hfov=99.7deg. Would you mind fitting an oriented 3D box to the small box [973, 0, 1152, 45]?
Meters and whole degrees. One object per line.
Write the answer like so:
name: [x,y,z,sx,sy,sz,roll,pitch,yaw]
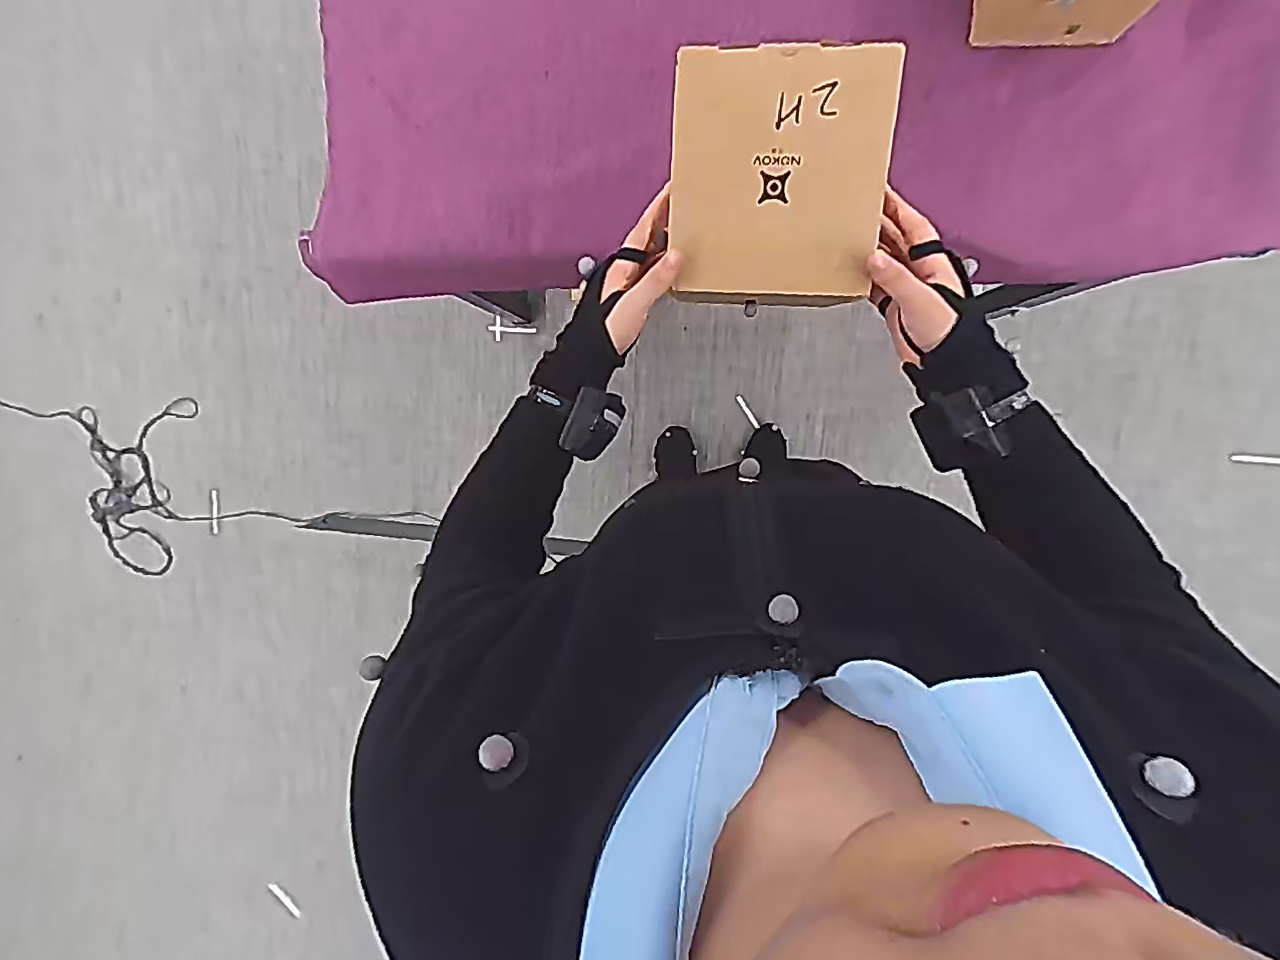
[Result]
small box: [0.483,-0.603,0.572,0.168,0.176,0.179,4,96,6]
